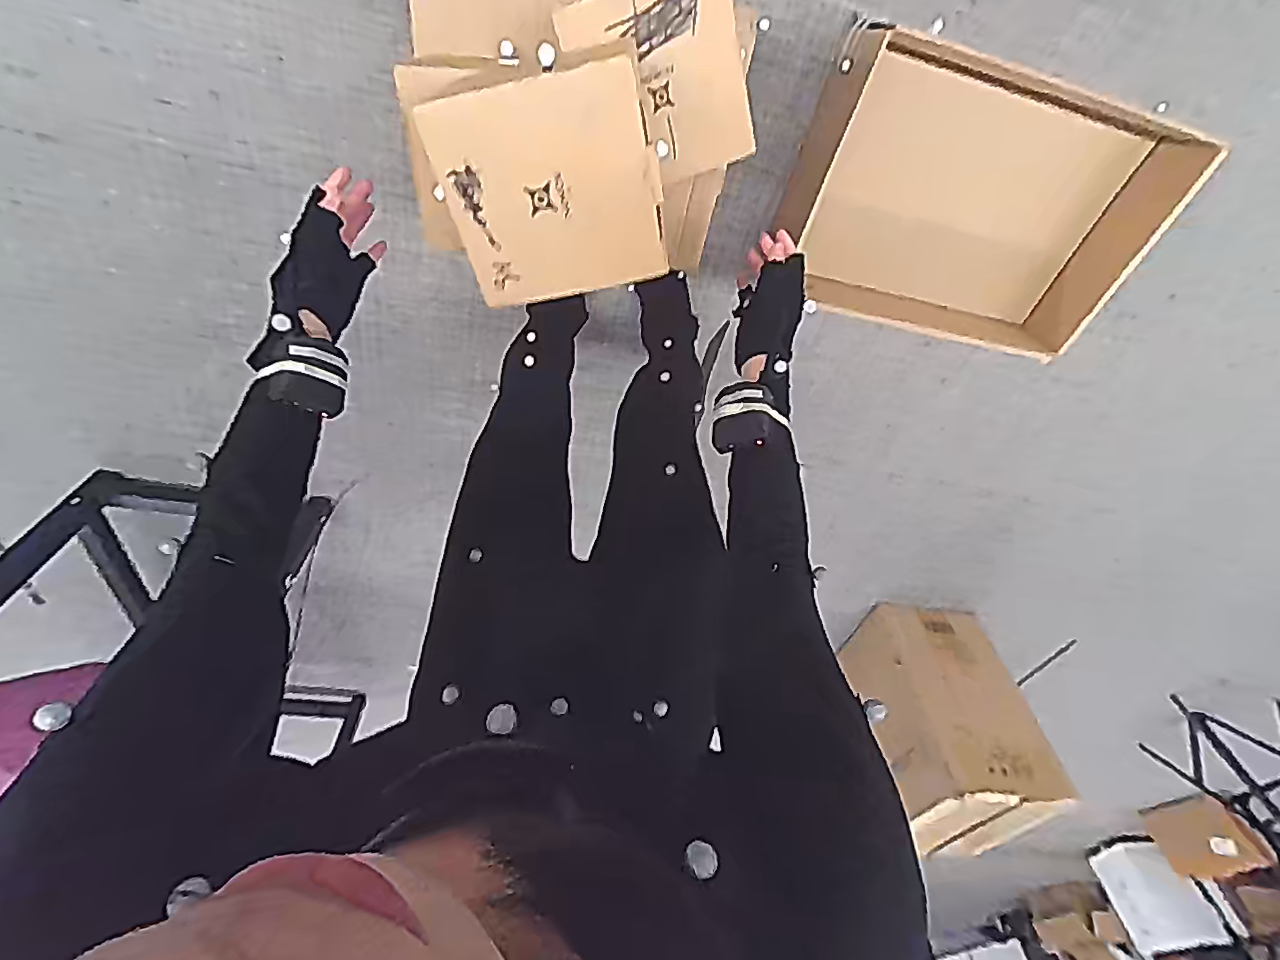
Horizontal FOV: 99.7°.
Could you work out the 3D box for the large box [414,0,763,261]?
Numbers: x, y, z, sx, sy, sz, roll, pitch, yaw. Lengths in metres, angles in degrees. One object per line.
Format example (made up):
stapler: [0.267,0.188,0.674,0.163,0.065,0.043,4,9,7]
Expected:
large box: [-0.084,-0.561,0.808,0.408,0.320,0.320,6,132,-9]

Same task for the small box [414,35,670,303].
small box: [-0.074,-0.291,0.504,0.179,0.176,0.168,-9,132,6]

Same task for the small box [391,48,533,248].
small box: [-0.165,-0.388,0.634,0.168,0.176,0.179,-1,130,-4]
